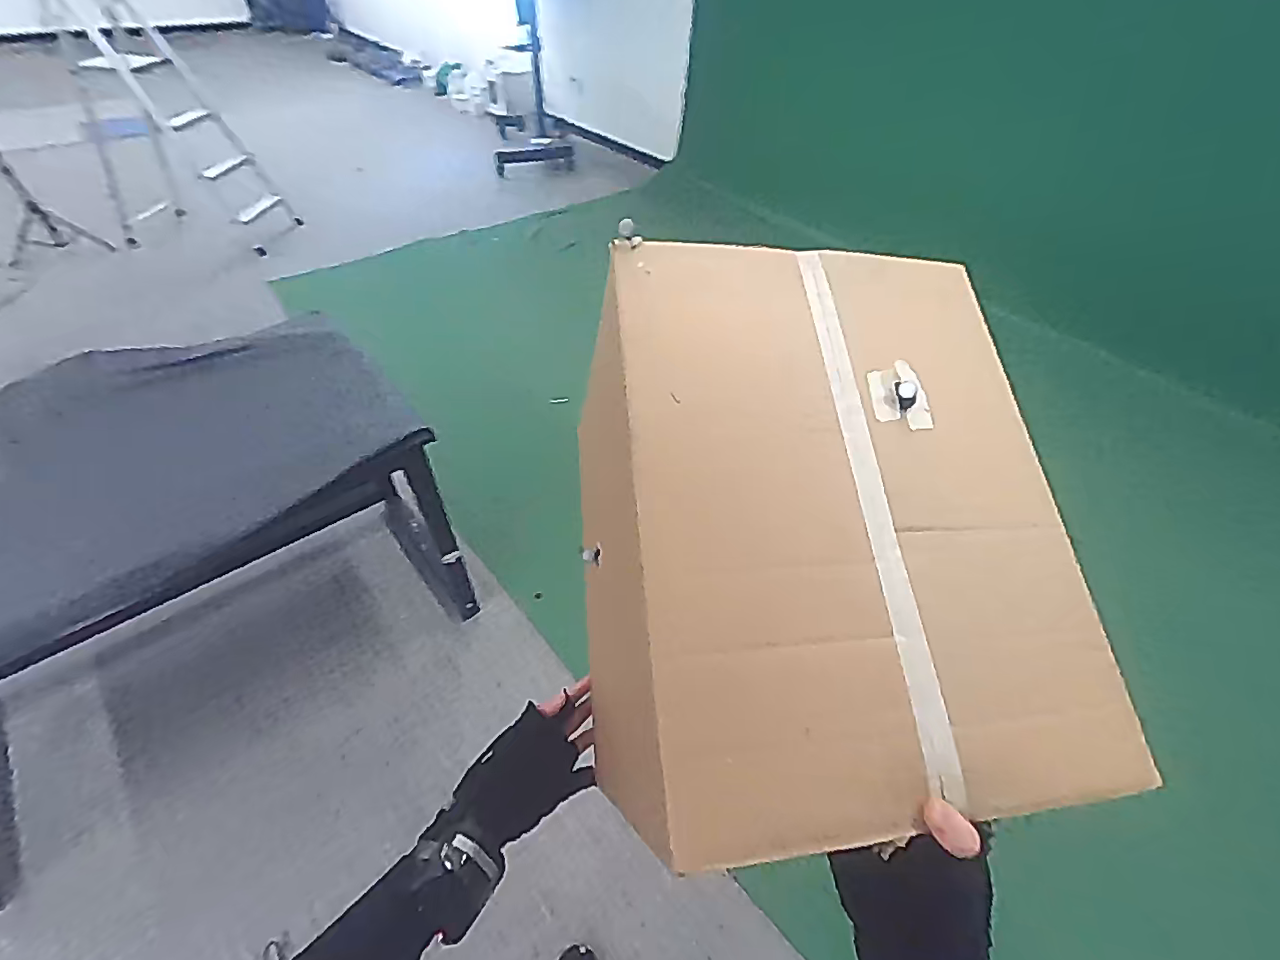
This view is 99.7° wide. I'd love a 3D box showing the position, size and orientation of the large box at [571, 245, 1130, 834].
[{"bbox_3d":[0.107,0.052,0.511,0.320,0.320,0.408,-1,67,-13],"label":"large box"}]
